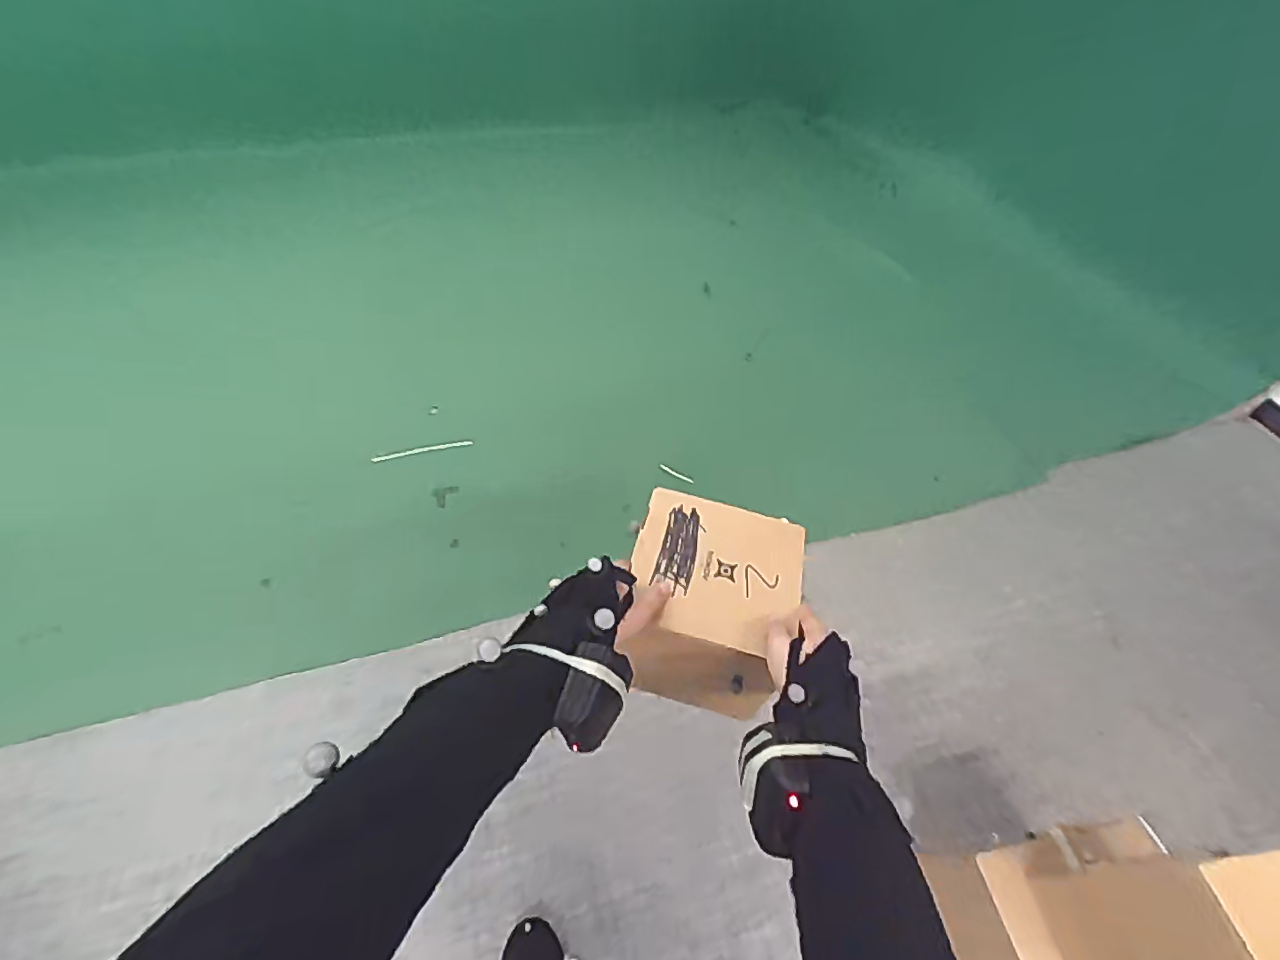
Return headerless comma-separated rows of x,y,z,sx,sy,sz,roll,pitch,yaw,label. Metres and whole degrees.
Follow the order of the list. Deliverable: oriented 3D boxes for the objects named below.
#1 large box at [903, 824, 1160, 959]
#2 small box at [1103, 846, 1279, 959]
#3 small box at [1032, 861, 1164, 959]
0.719,0.842,0.892,0.320,0.320,0.408,-8,54,-7,large box
0.700,0.537,0.616,0.168,0.176,0.179,-5,53,-7,small box
0.702,0.641,0.741,0.168,0.176,0.179,-6,52,-8,small box
